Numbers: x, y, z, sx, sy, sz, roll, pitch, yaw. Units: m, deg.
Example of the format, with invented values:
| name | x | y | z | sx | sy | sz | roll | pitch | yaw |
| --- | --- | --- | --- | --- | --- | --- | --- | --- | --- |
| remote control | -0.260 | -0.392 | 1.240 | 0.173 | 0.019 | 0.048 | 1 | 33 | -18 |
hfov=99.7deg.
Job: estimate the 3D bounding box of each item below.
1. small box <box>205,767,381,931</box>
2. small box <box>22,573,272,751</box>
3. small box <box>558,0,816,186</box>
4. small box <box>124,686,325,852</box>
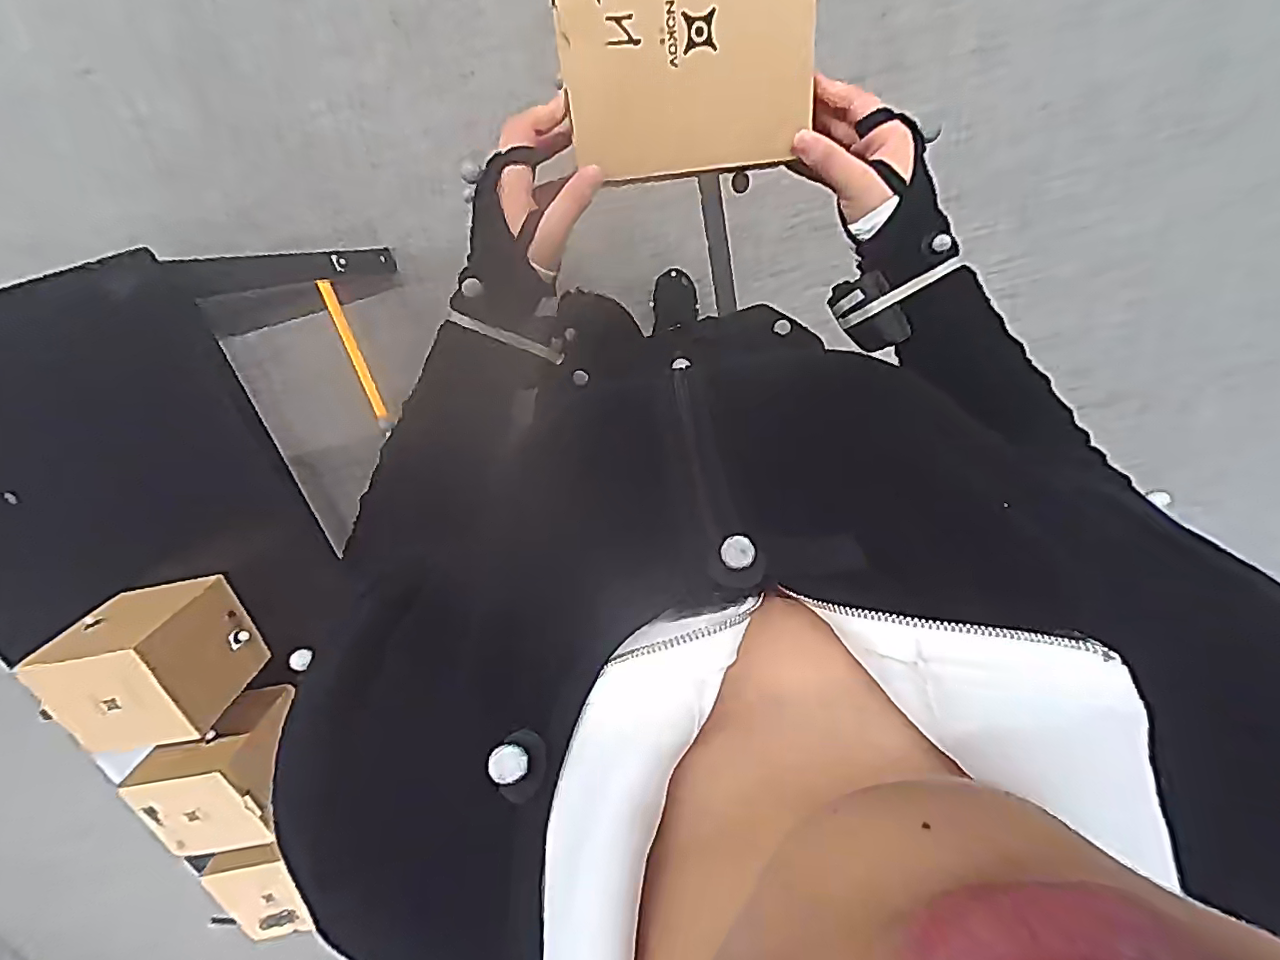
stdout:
| name | x | y | z | sx | sy | sz | roll | pitch | yaw |
| --- | --- | --- | --- | --- | --- | --- | --- | --- | --- |
| small box | -0.603 | 0.655 | 0.969 | 0.168 | 0.176 | 0.179 | -14 | 112 | 6 |
| small box | -0.702 | 0.261 | 0.798 | 0.179 | 0.176 | 0.168 | -12 | 115 | 4 |
| small box | 0.031 | -0.342 | 0.441 | 0.179 | 0.176 | 0.168 | -6 | 117 | 1 |
| small box | -0.654 | 0.463 | 0.885 | 0.179 | 0.176 | 0.168 | -12 | 114 | 5 |
